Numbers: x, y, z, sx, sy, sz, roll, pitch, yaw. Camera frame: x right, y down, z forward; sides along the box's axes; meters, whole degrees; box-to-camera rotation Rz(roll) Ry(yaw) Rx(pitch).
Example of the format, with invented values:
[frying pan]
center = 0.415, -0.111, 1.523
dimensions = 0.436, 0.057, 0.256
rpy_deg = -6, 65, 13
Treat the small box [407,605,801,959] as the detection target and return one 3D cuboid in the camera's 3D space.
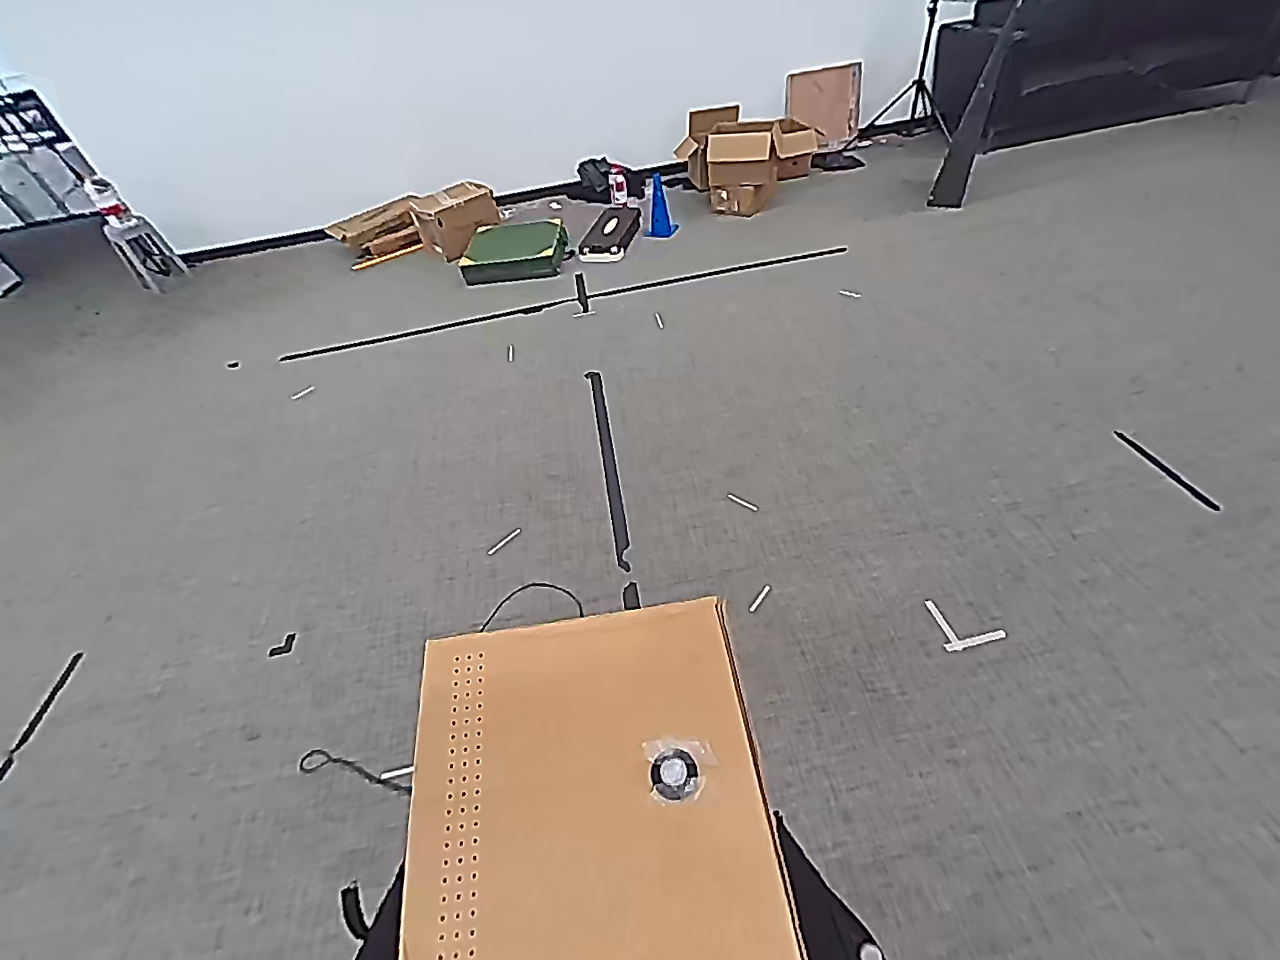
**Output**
[small box]
center = -0.022, 0.198, 0.326
dimensions = 0.176, 0.168, 0.179
rpy_deg = -9, 55, 0
